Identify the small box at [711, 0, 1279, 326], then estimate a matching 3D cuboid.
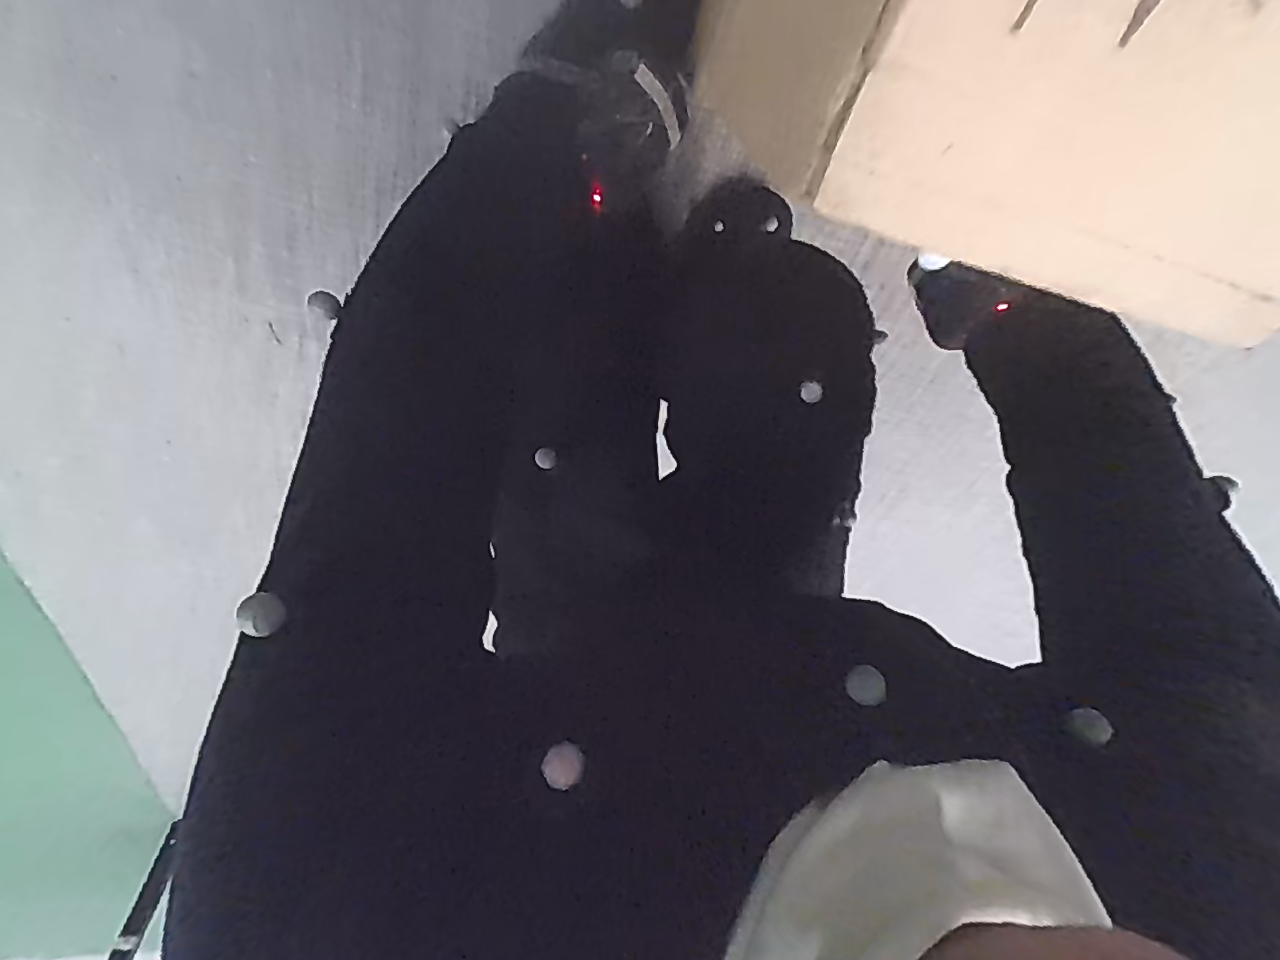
[{"bbox_3d":[0.138,-0.180,0.175,0.179,0.176,0.168,10,132,-15],"label":"small box"}]
